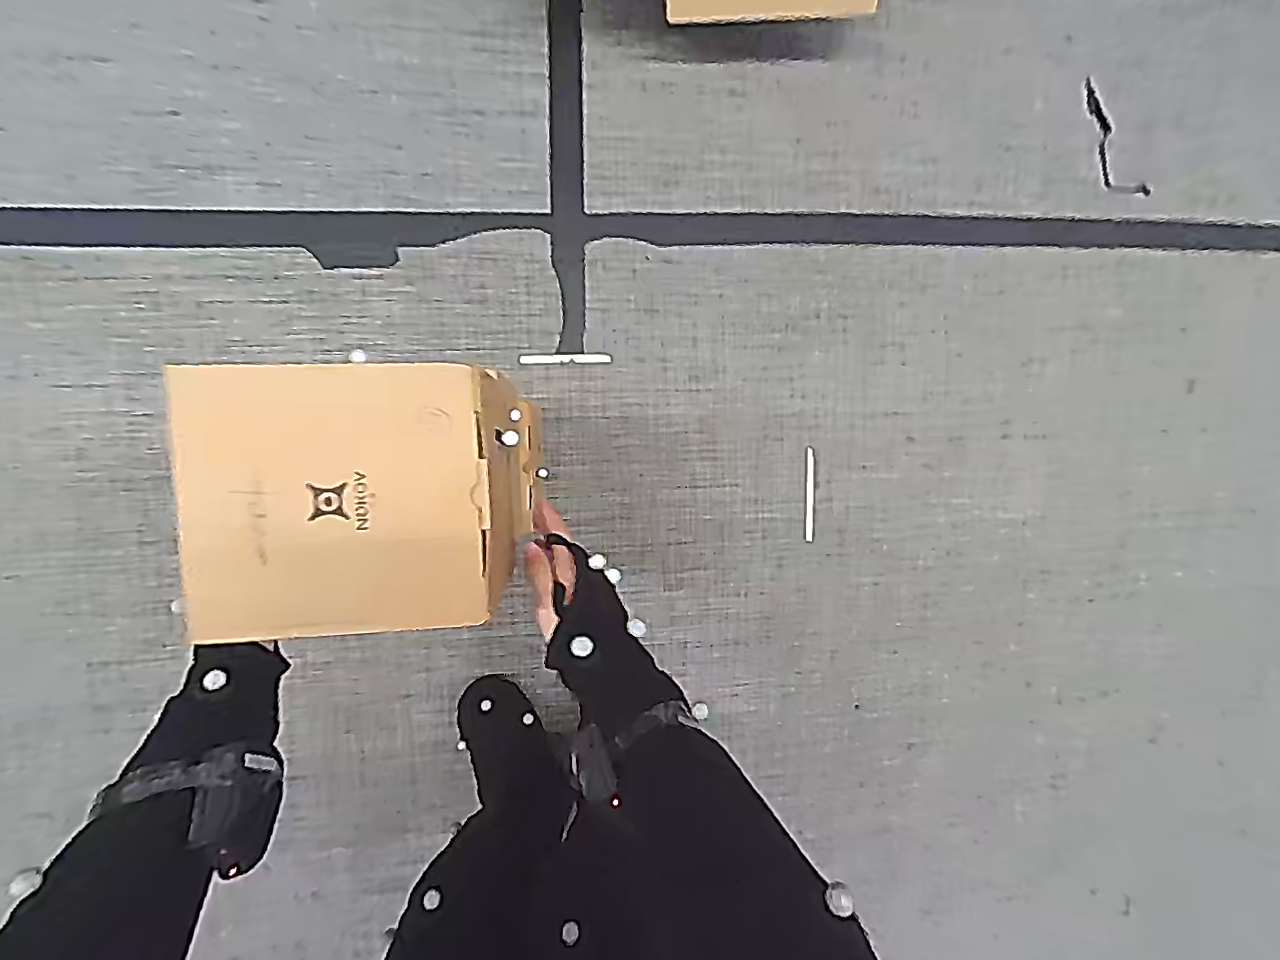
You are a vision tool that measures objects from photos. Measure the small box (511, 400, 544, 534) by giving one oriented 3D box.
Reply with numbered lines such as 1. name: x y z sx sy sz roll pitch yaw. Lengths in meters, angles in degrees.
1. small box: -0.223 -0.020 0.727 0.179 0.176 0.168 -1 95 -7

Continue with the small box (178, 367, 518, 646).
1. small box: -0.186 0.009 0.403 0.179 0.176 0.168 -3 93 -7
